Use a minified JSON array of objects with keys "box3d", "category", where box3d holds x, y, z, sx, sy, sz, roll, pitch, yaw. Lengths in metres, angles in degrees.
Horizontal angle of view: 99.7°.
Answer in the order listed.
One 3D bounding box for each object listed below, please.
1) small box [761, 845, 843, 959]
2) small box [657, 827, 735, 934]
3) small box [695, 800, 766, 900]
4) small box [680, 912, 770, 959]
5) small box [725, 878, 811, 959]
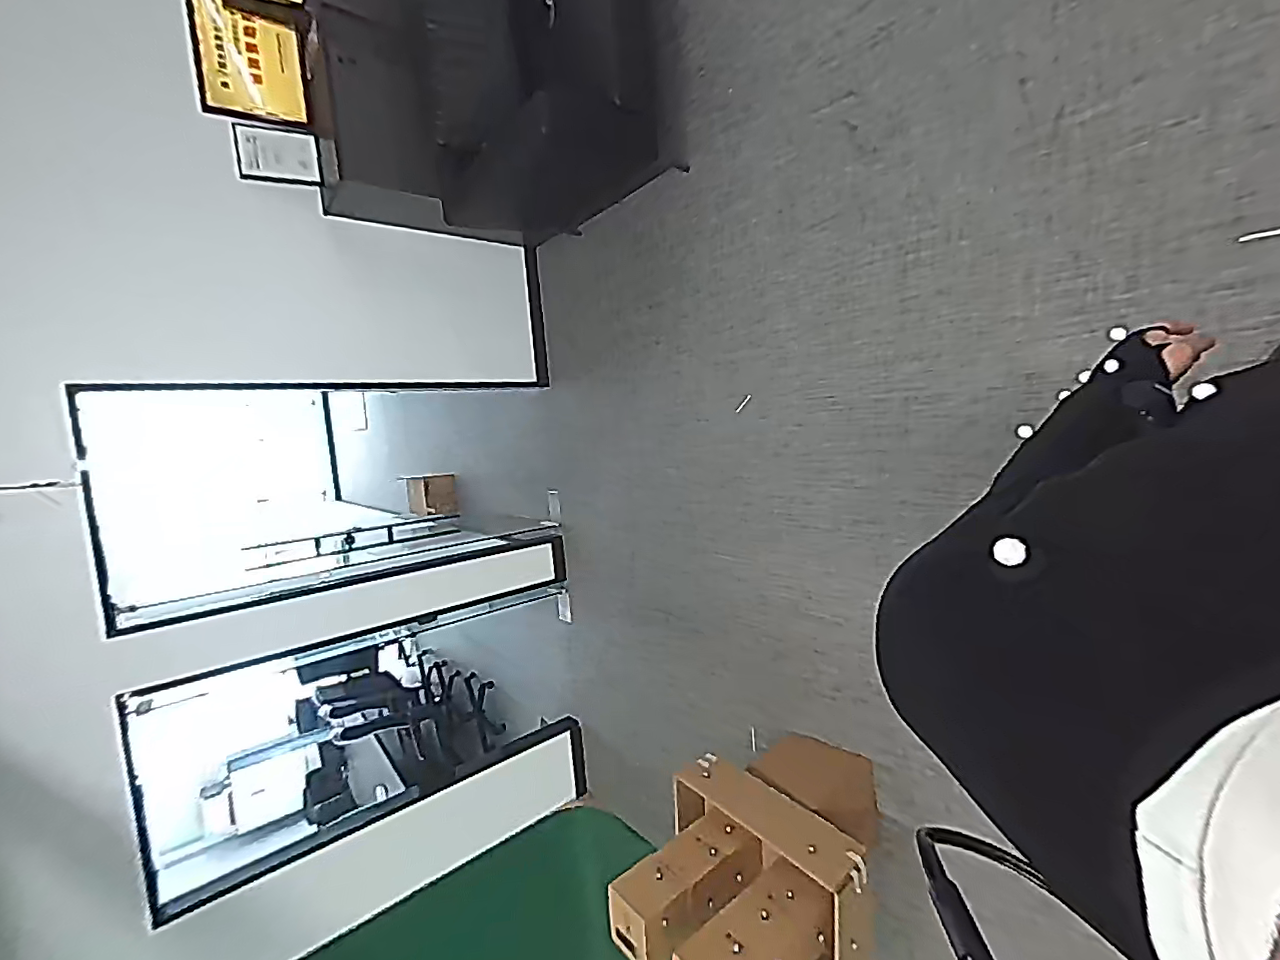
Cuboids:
[{"box3d":[0.467,1.212,1.556,0.168,0.176,0.179,9,104,50],"category":"small box"},{"box3d":[0.174,1.219,1.659,0.168,0.176,0.179,4,101,50],"category":"small box"},{"box3d":[0.297,1.196,1.766,0.168,0.176,0.179,6,102,50],"category":"small box"},{"box3d":[0.215,1.251,1.350,0.168,0.176,0.179,11,106,49],"category":"small box"},{"box3d":[0.343,1.230,1.449,0.168,0.176,0.179,11,106,51],"category":"small box"}]
